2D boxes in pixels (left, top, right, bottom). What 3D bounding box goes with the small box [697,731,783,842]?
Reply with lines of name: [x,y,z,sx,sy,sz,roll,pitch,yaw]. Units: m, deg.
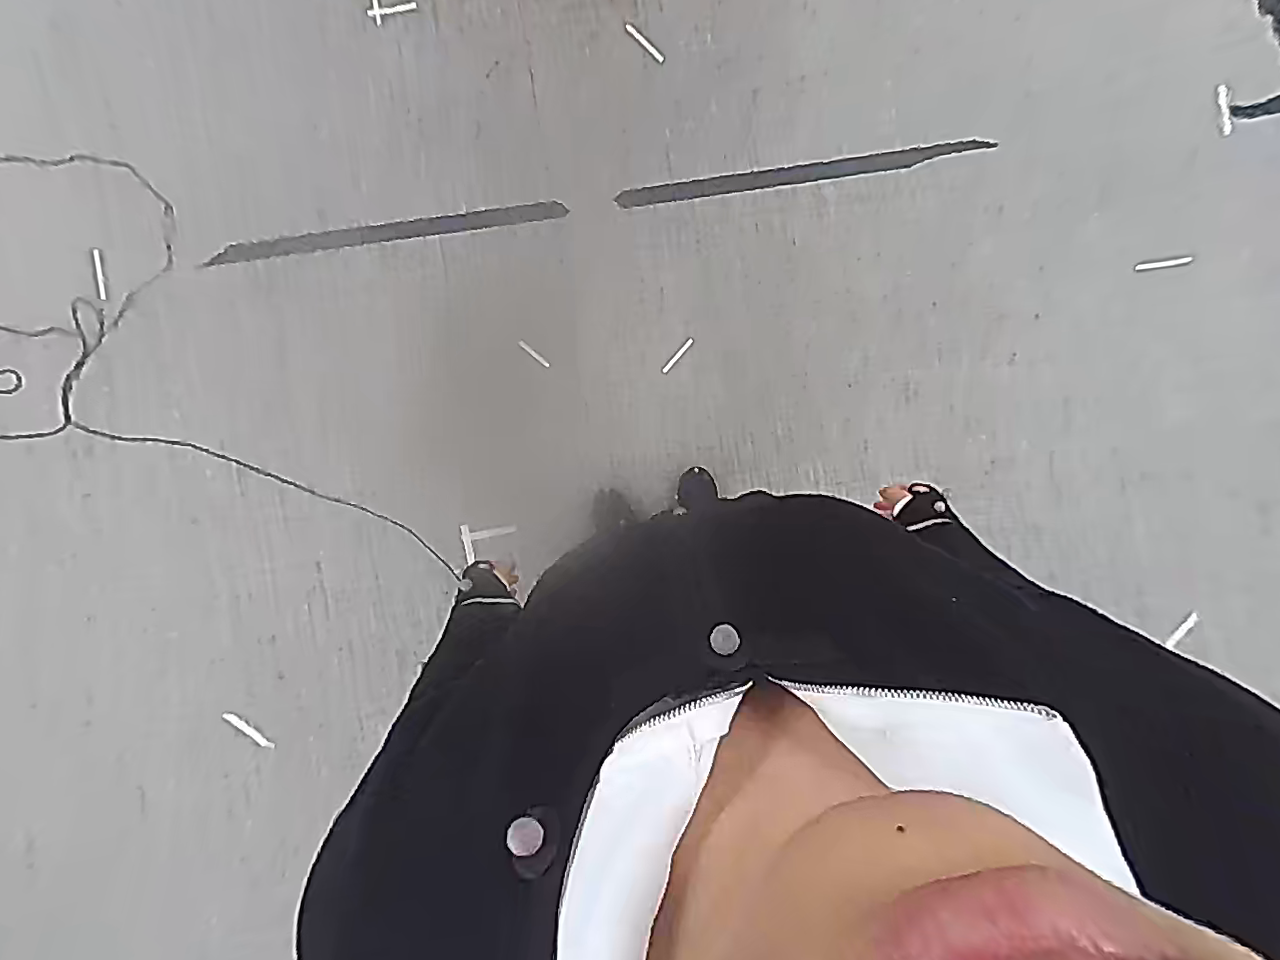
small box: [0.238,0.736,1.321,0.168,0.176,0.179,-8,90,0]
